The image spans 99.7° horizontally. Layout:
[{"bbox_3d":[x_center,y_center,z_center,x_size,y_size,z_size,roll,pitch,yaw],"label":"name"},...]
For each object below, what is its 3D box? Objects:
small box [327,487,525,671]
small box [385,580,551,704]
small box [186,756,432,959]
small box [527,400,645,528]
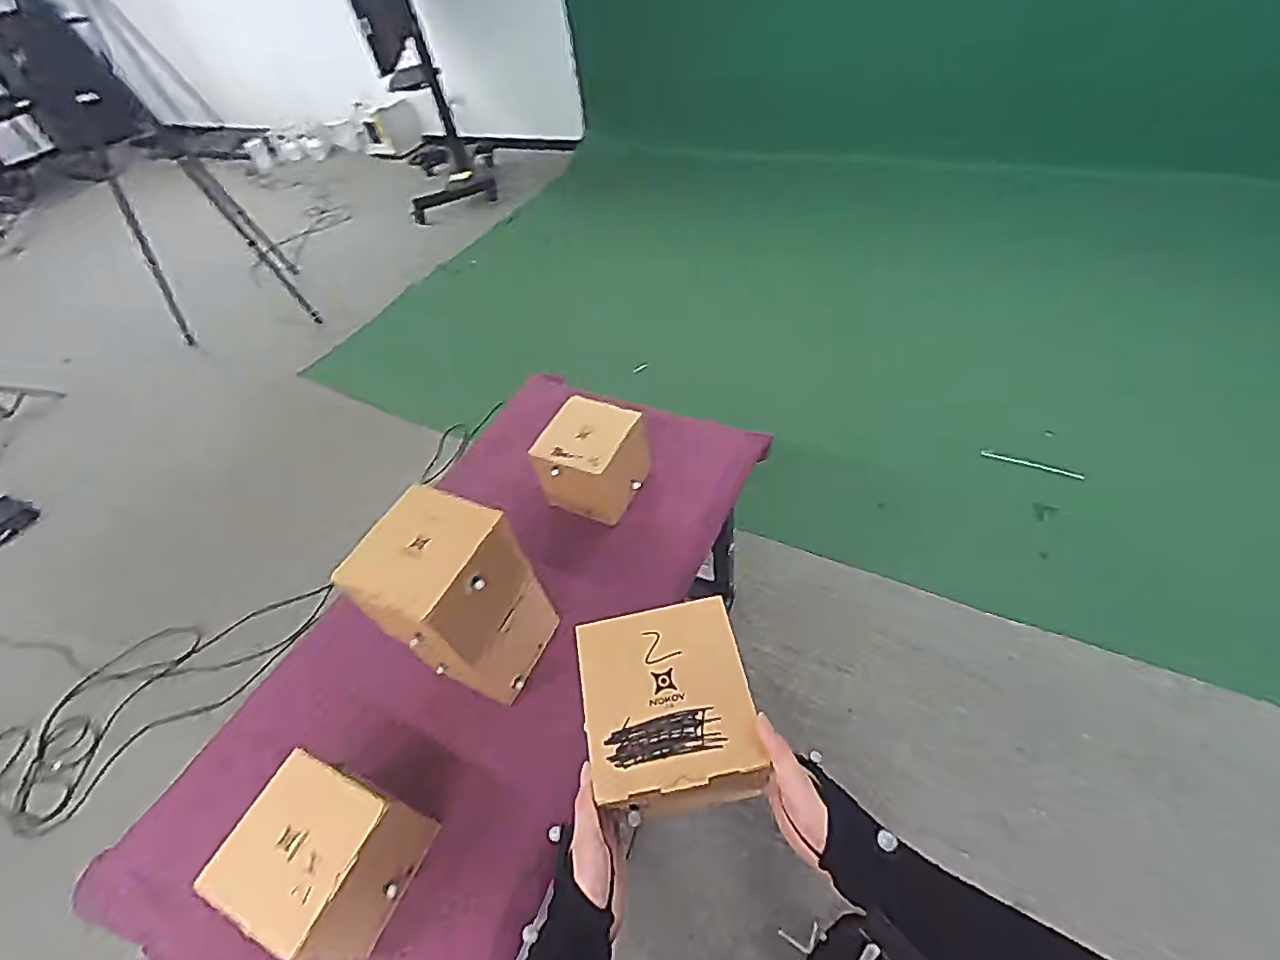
[{"bbox_3d":[-0.288,0.145,0.775,0.168,0.176,0.179,16,54,21],"label":"small box"},{"bbox_3d":[-0.271,0.248,0.900,0.179,0.176,0.168,15,54,22],"label":"small box"},{"bbox_3d":[-0.415,0.499,0.708,0.179,0.176,0.168,15,54,20],"label":"small box"},{"bbox_3d":[-0.099,-0.034,1.109,0.168,0.176,0.179,15,54,23],"label":"small box"}]
